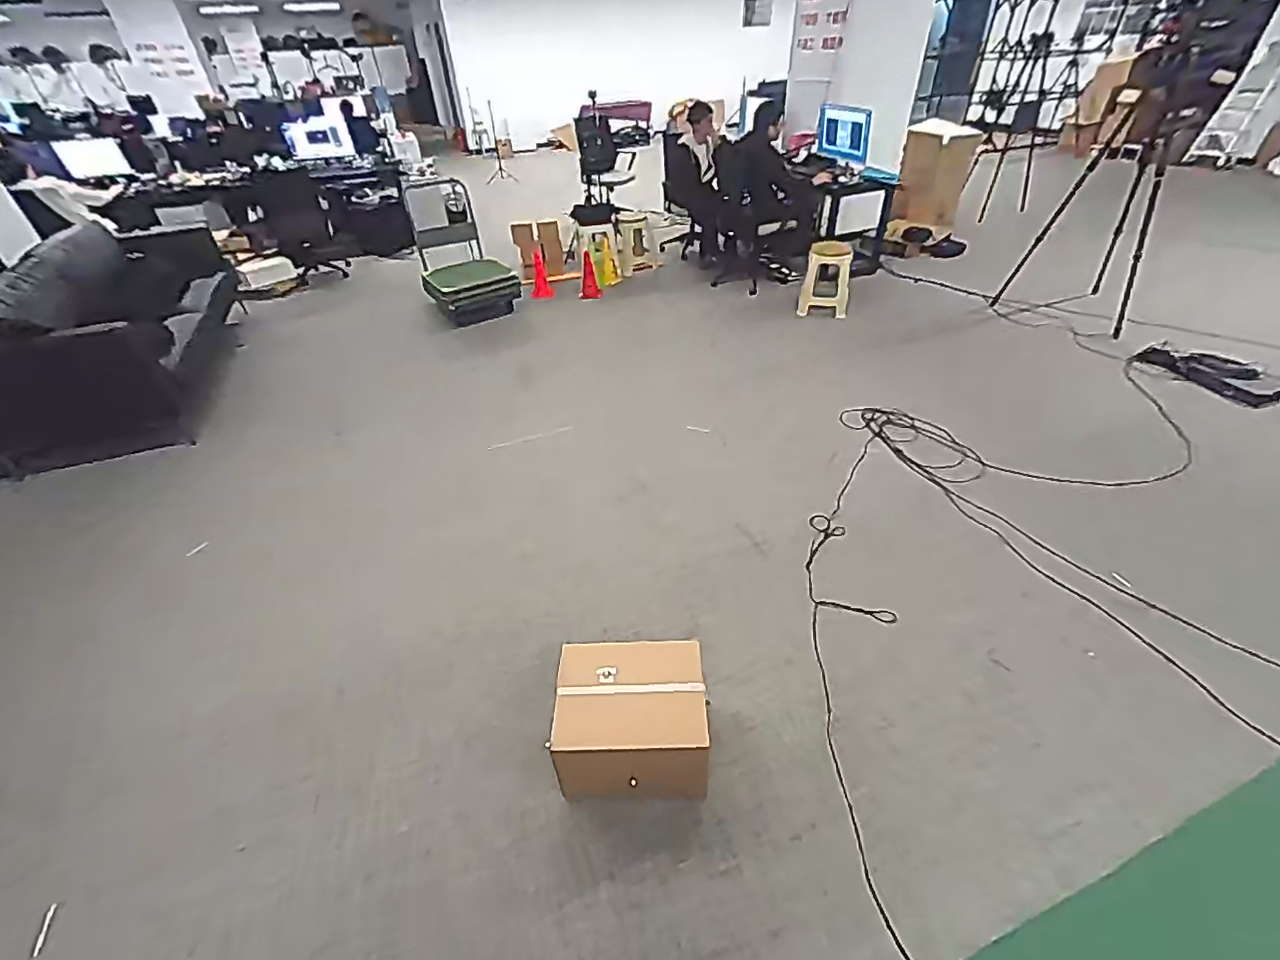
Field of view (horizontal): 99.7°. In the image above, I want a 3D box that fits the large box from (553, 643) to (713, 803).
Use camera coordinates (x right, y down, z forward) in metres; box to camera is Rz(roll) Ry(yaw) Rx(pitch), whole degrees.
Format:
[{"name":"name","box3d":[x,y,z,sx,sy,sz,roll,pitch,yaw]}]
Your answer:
[{"name":"large box","box3d":[-0.011,0.698,1.554,0.408,0.320,0.320,-3,38,2]}]
